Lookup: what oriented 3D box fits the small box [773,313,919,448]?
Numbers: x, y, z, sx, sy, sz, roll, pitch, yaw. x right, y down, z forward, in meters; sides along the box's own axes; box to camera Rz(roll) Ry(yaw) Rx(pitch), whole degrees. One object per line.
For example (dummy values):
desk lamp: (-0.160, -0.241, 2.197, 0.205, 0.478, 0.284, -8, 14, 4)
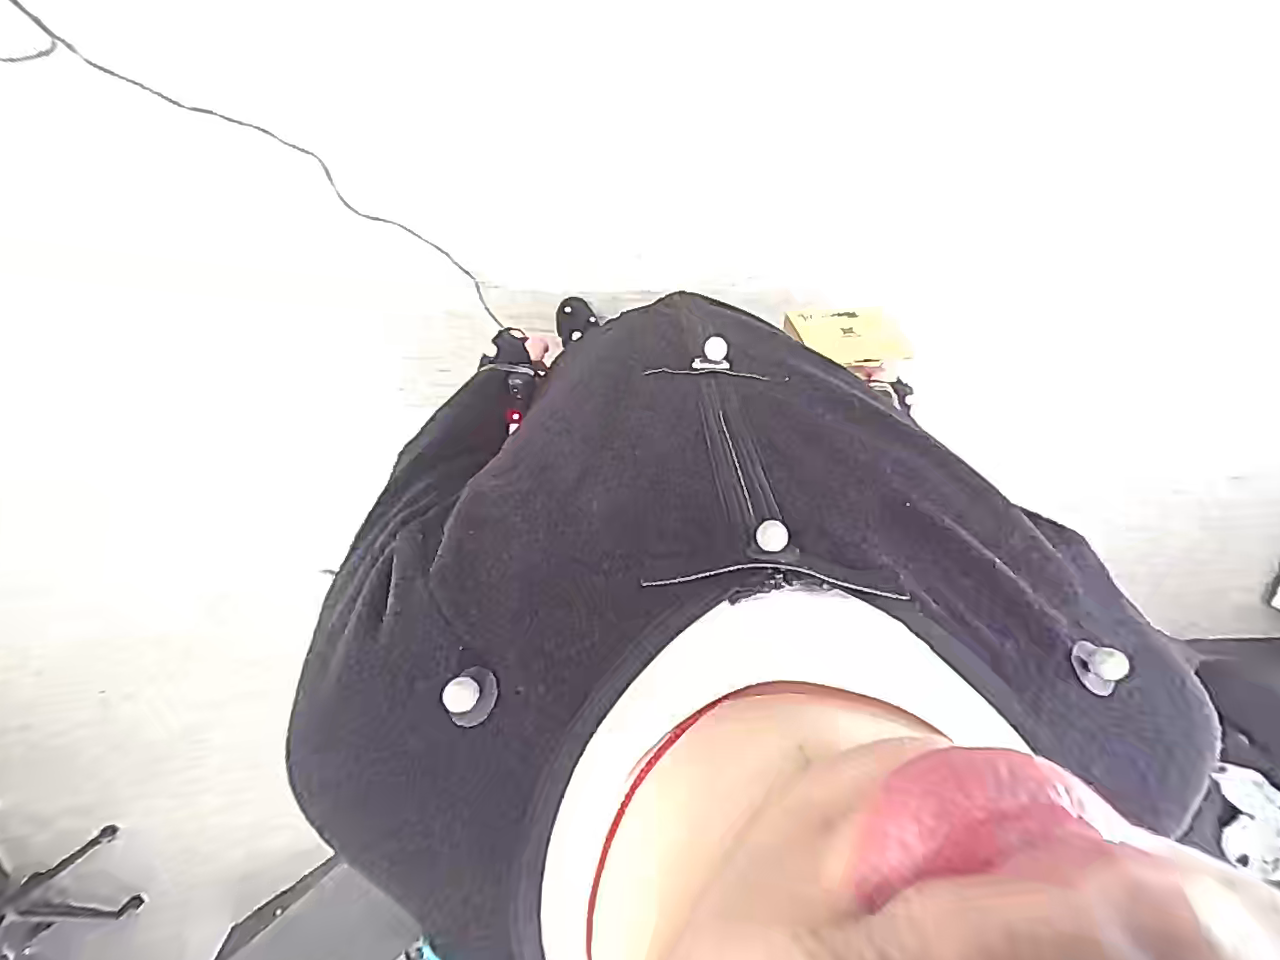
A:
small box: (0.338, -0.166, 0.928, 0.168, 0.179, 0.176, -4, 132, -3)
